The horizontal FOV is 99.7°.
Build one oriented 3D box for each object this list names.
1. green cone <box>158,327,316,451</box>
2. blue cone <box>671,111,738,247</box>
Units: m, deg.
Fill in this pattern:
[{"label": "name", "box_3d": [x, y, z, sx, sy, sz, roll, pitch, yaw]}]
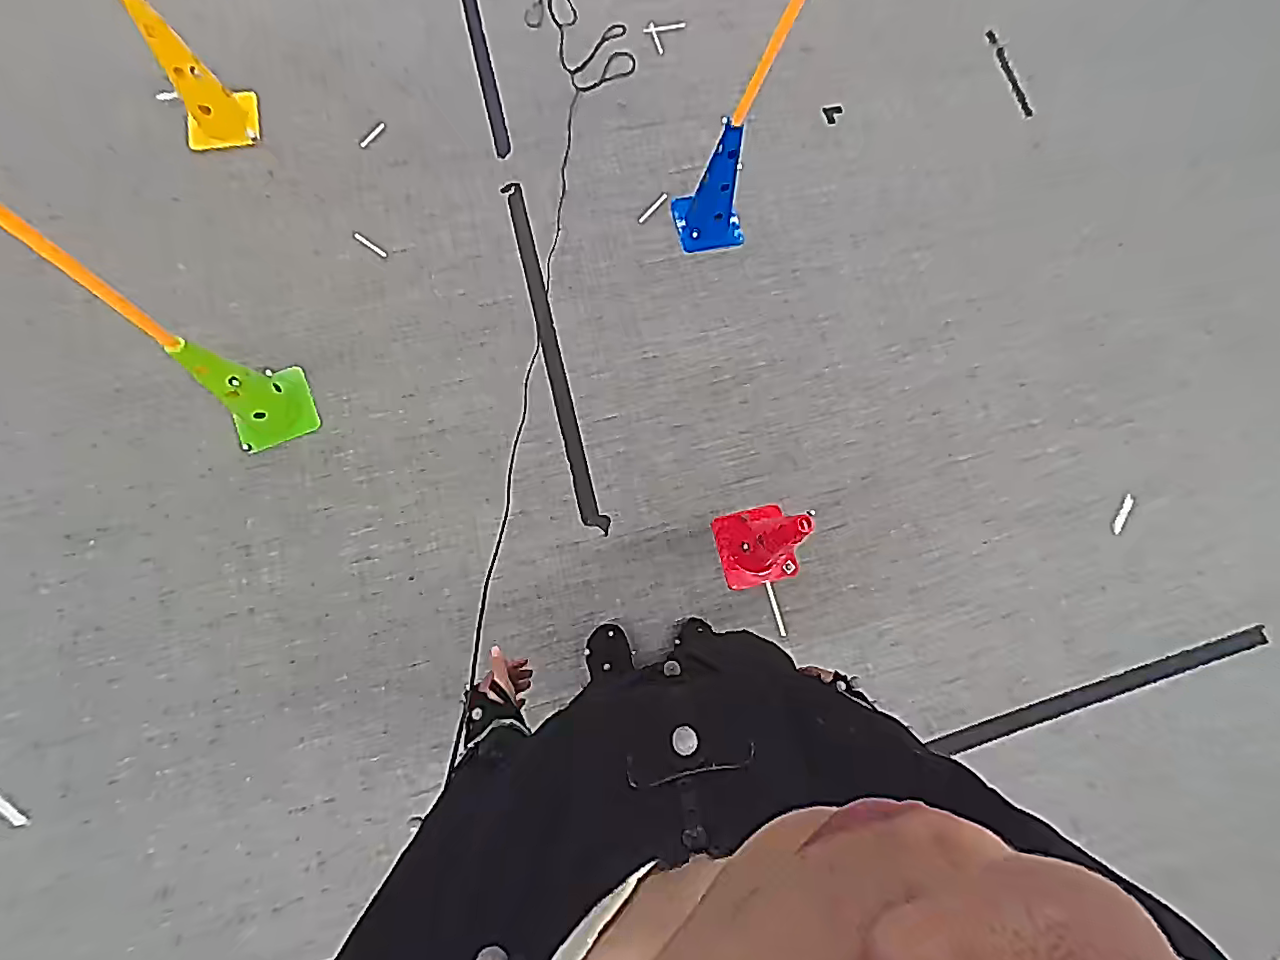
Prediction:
[{"label": "green cone", "box_3d": [-0.966, -0.240, 1.269, 0.200, 0.368, 0.202, -24, 77, -11]}, {"label": "blue cone", "box_3d": [0.217, -0.863, 1.543, 0.193, 0.380, 0.192, -11, 76, -8]}]
